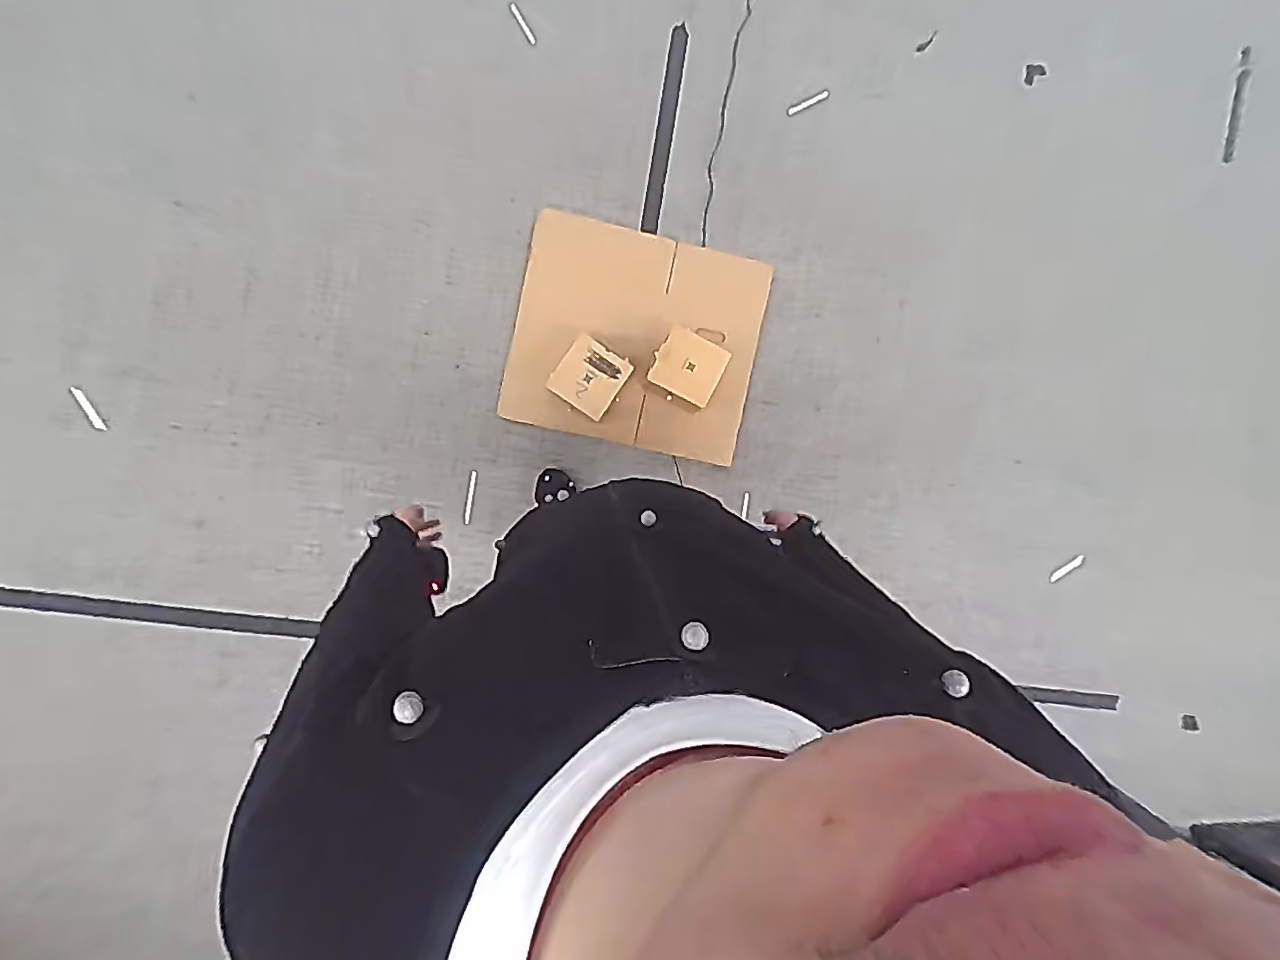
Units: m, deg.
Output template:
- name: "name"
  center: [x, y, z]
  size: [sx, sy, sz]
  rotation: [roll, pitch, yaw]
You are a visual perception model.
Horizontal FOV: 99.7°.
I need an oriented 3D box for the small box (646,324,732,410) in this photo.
- name: "small box"
  center: [0.130, -0.307, 1.511]
  size: [0.179, 0.176, 0.168]
  rotation: [27, 90, -3]
